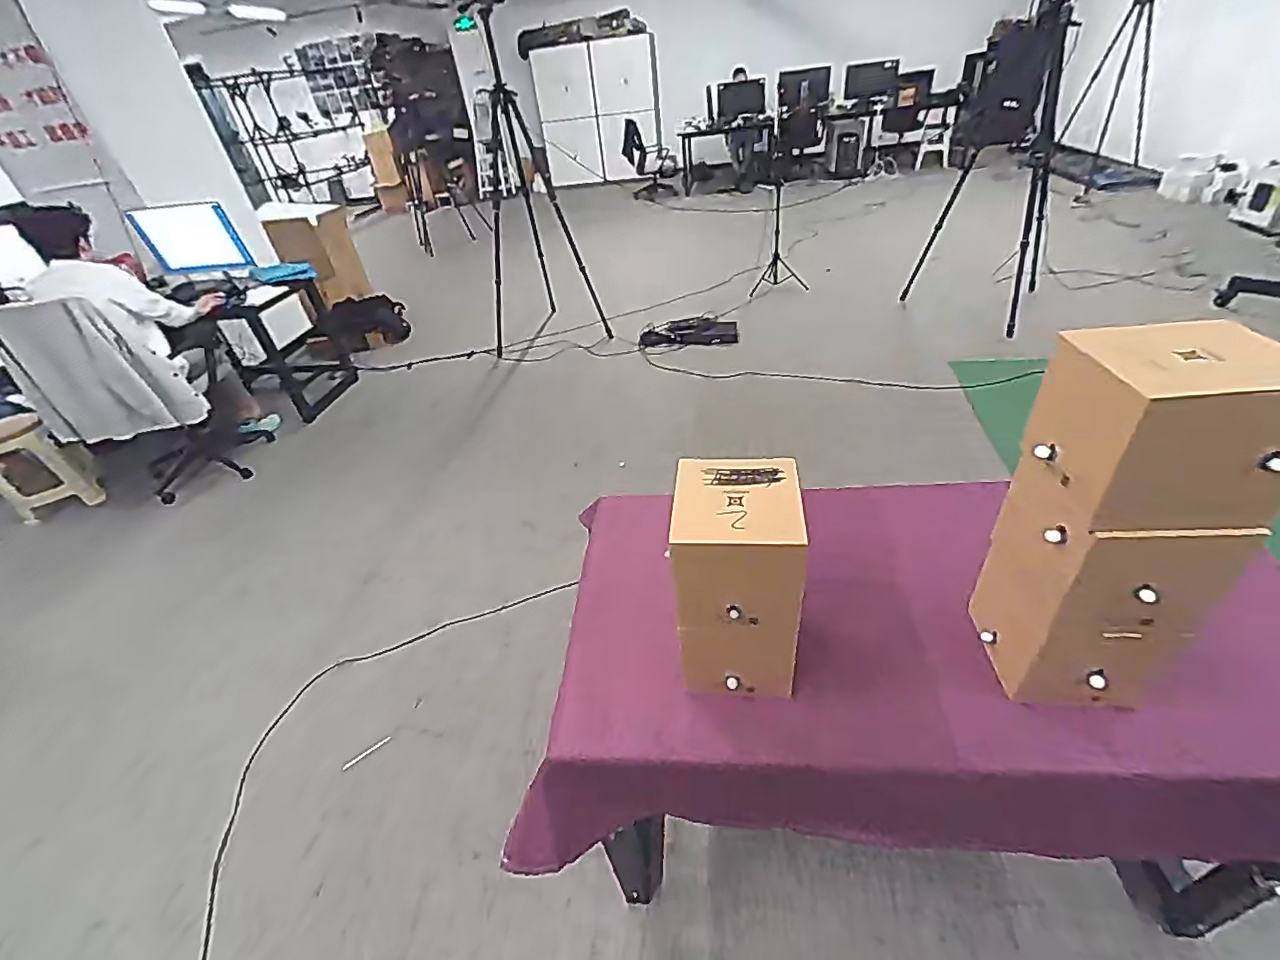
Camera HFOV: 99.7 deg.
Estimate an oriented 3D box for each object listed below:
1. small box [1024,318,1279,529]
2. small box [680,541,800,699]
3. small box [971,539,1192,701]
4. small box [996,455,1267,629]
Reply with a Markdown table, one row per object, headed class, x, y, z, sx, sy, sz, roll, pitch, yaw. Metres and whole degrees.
| class | x | y | z | sx | sy | sz | roll | pitch | yaw |
| --- | --- | --- | --- | --- | --- | --- | --- | --- | --- |
| small box | 0.571 | -0.060 | 0.593 | 0.179 | 0.176 | 0.168 | -3 | 36 | 9 |
| small box | 0.155 | 0.217 | 0.855 | 0.168 | 0.176 | 0.179 | -1 | 39 | 10 |
| small box | 0.617 | 0.201 | 0.787 | 0.168 | 0.176 | 0.179 | -2 | 39 | 9 |
| small box | 0.593 | 0.071 | 0.687 | 0.168 | 0.176 | 0.179 | -2 | 38 | 8 |
